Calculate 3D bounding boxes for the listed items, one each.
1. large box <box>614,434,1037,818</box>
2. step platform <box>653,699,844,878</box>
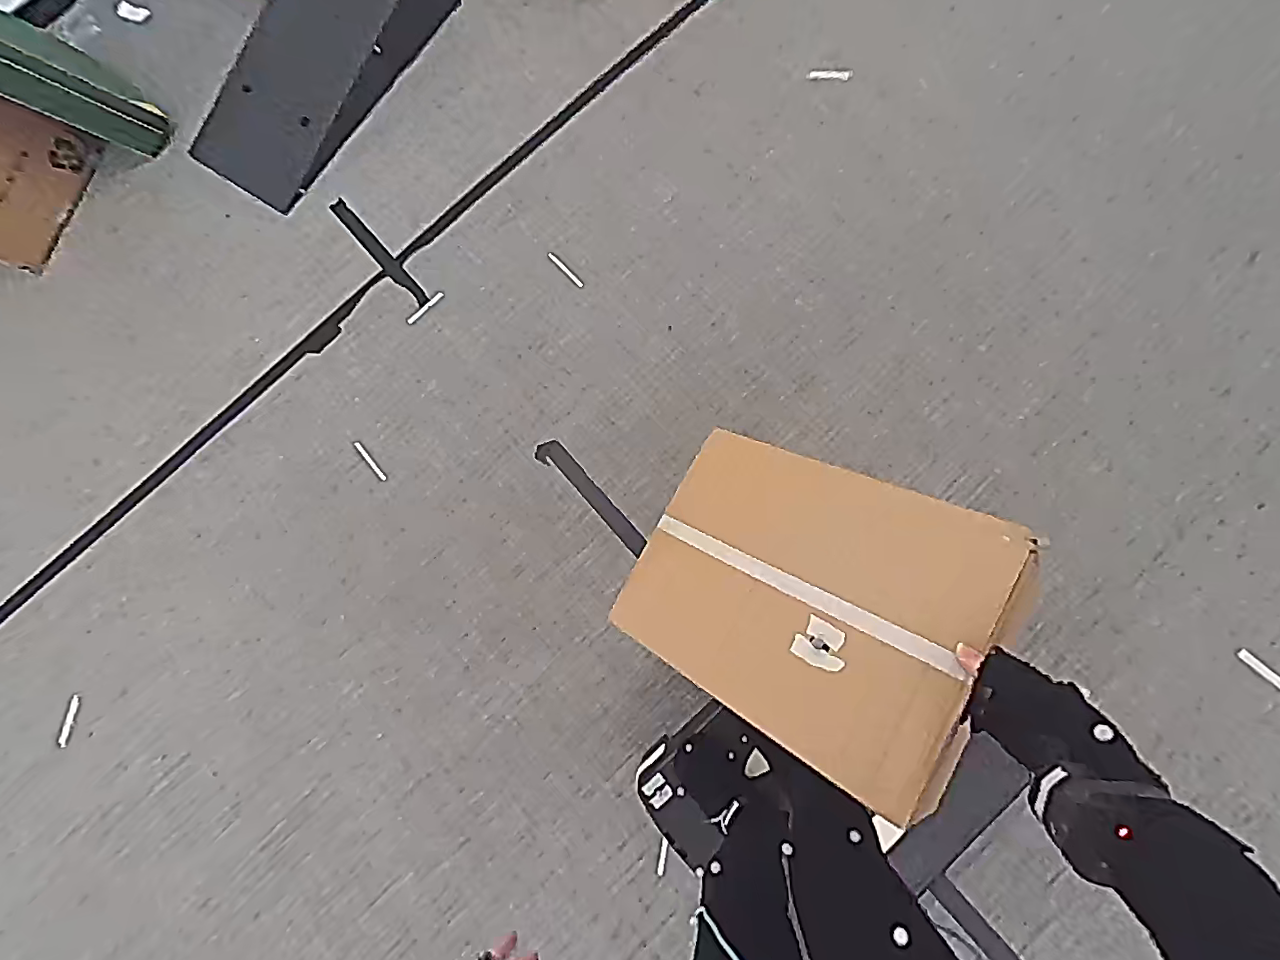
[{"bbox_3d":[0.250,0.179,0.750,0.408,0.320,0.320,23,82,38],"label":"large box"},{"bbox_3d":[0.350,0.519,1.218,0.684,0.204,0.286,-44,76,-4],"label":"step platform"}]
